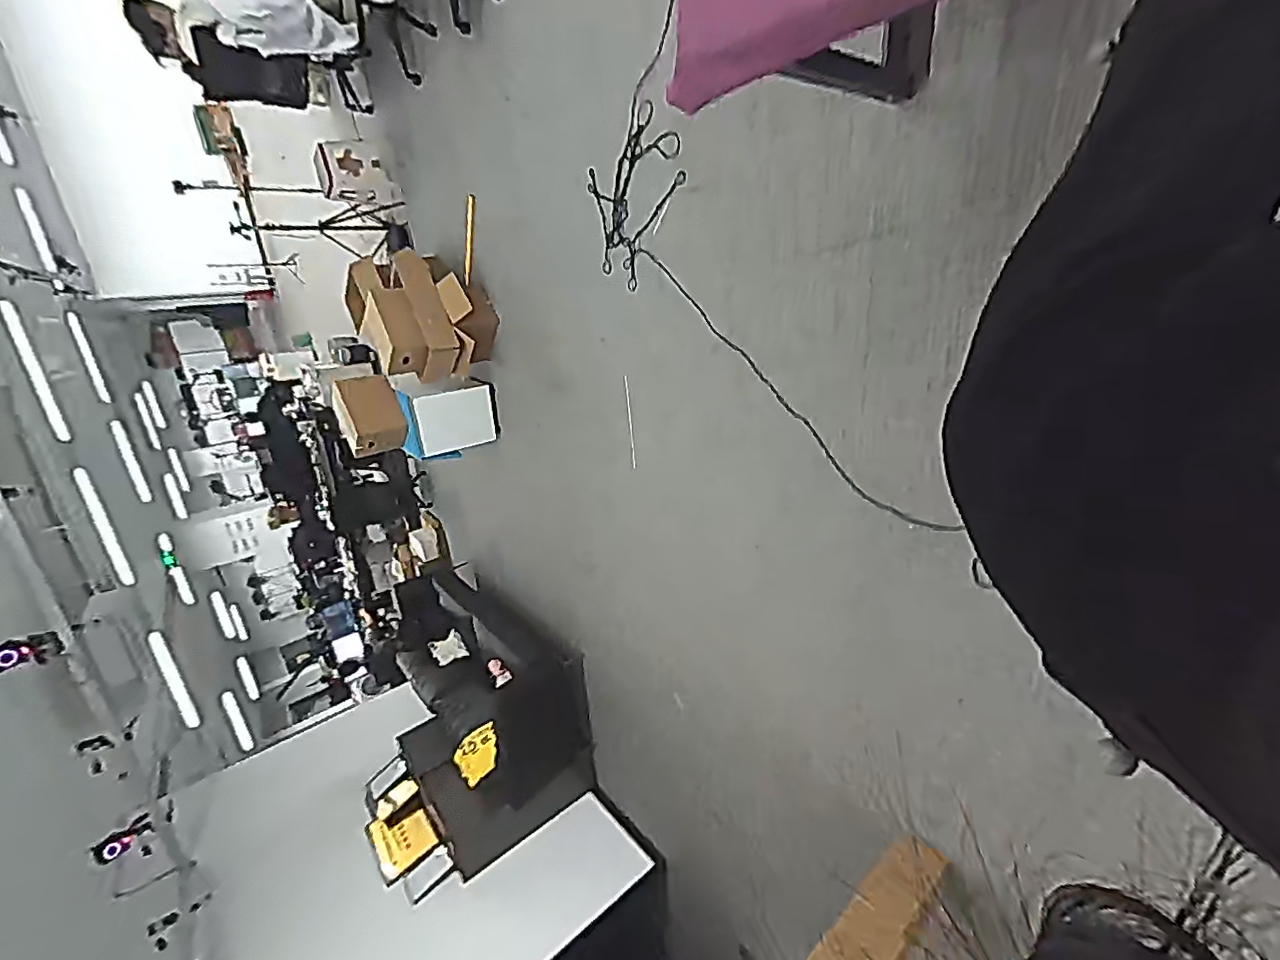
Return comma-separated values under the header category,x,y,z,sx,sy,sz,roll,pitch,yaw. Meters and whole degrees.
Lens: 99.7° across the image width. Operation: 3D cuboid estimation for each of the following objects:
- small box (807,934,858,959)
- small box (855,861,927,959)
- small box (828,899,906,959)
category,x,y,z,sx,sy,sz,roll,pitch,yaw
small box,0.585,1.528,1.606,0.168,0.176,0.179,15,117,49
small box,0.835,1.432,1.799,0.168,0.176,0.179,16,118,50
small box,0.714,1.484,1.700,0.179,0.176,0.168,17,119,49
